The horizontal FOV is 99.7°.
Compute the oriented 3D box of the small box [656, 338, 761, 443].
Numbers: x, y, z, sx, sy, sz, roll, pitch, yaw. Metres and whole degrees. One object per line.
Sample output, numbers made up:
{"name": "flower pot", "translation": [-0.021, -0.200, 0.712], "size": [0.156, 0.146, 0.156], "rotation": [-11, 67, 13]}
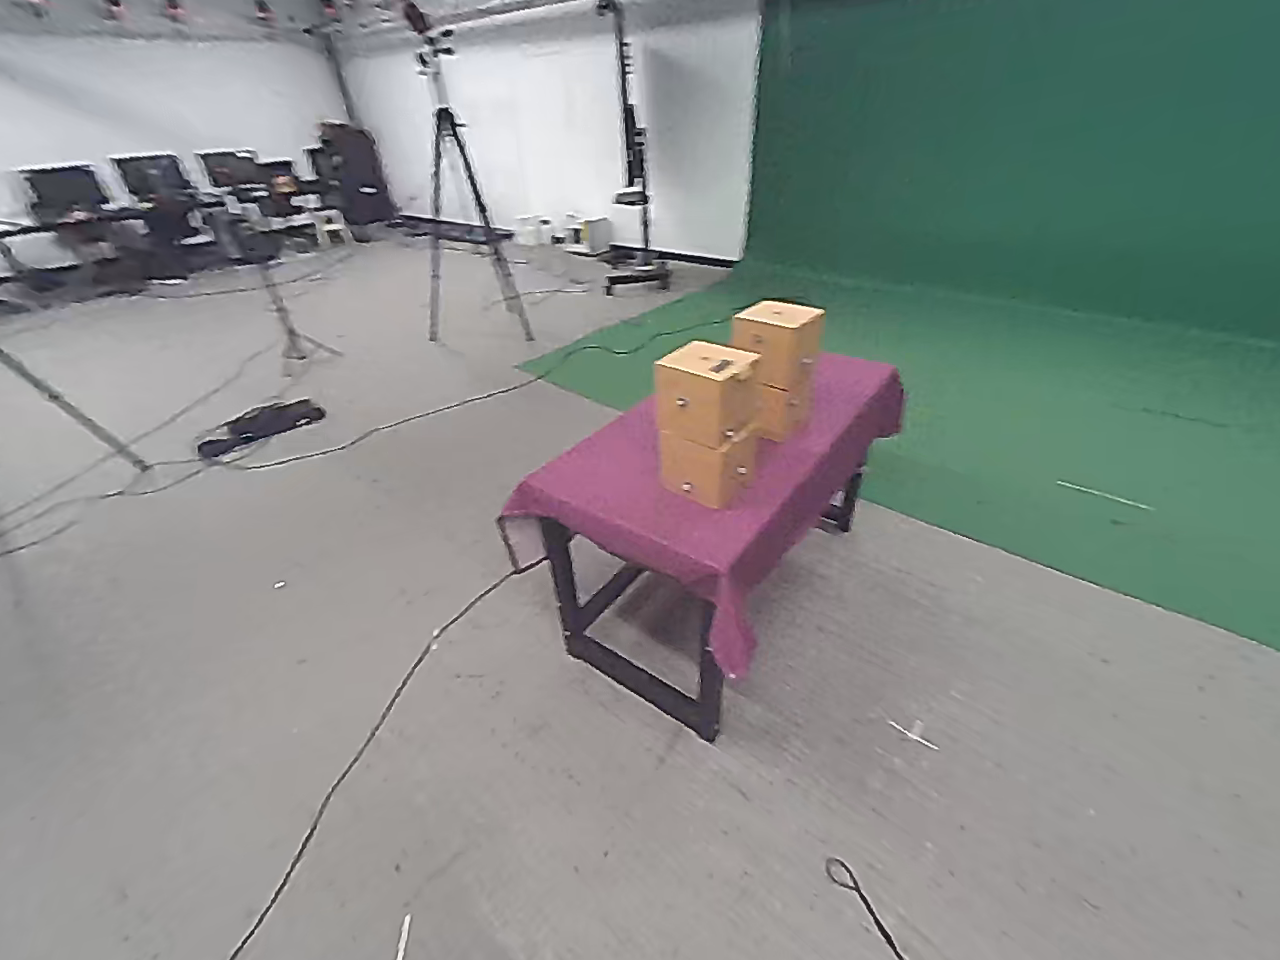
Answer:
{"name": "small box", "translation": [0.154, -0.202, 1.232], "size": [0.179, 0.176, 0.168], "rotation": [24, 43, 33]}

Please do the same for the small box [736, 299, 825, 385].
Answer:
{"name": "small box", "translation": [0.368, -0.370, 1.452], "size": [0.179, 0.176, 0.168], "rotation": [26, 45, 34]}

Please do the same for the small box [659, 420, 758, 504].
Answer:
{"name": "small box", "translation": [0.164, -0.064, 1.322], "size": [0.179, 0.176, 0.168], "rotation": [25, 43, 31]}
